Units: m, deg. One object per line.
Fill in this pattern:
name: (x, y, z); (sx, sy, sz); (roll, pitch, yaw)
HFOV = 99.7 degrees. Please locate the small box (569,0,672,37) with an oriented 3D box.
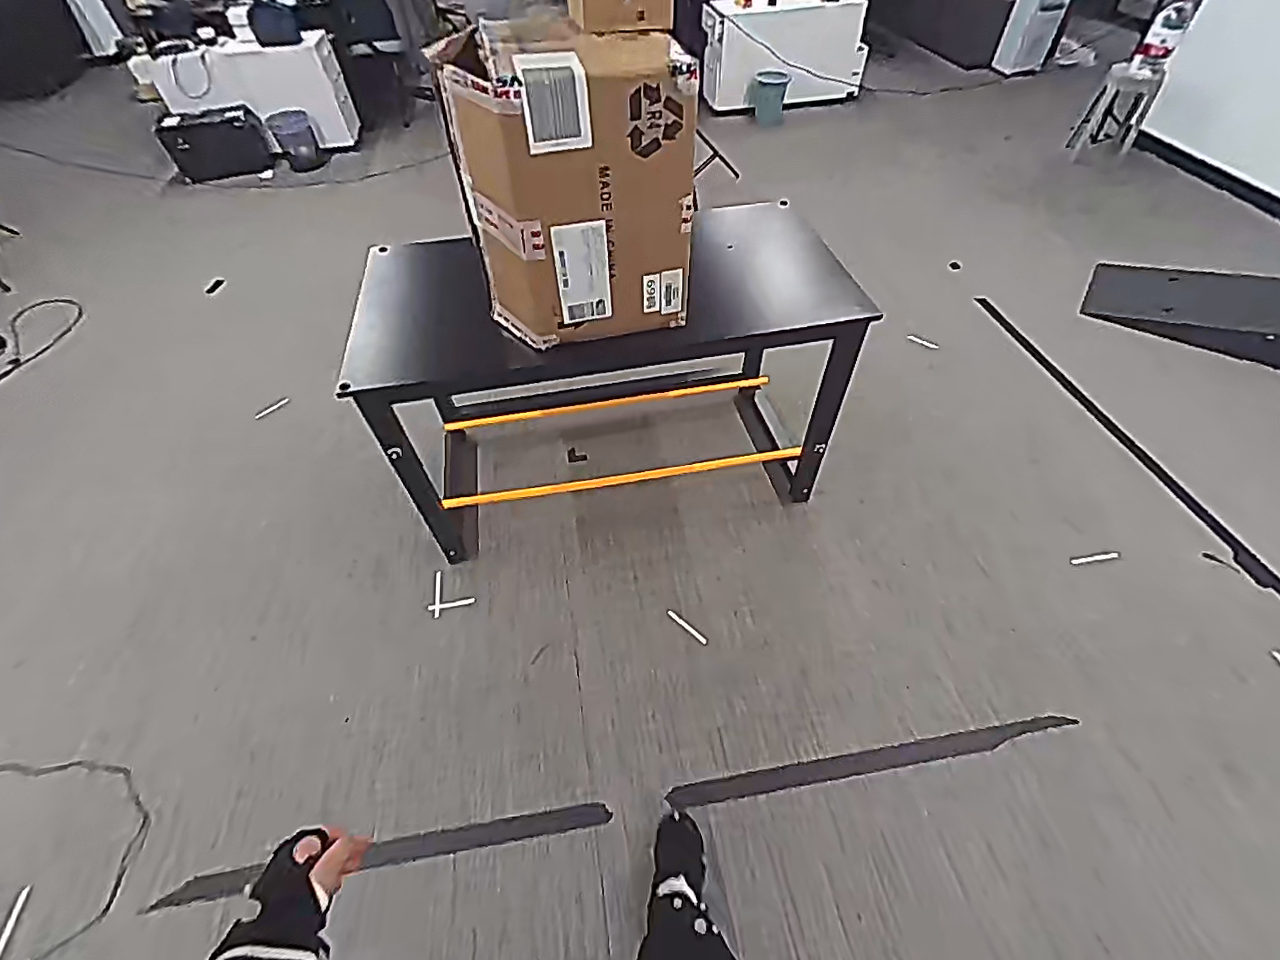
small box: (-0.041, -0.917, 0.971); (0.168, 0.176, 0.179); (-11, 50, -9)
